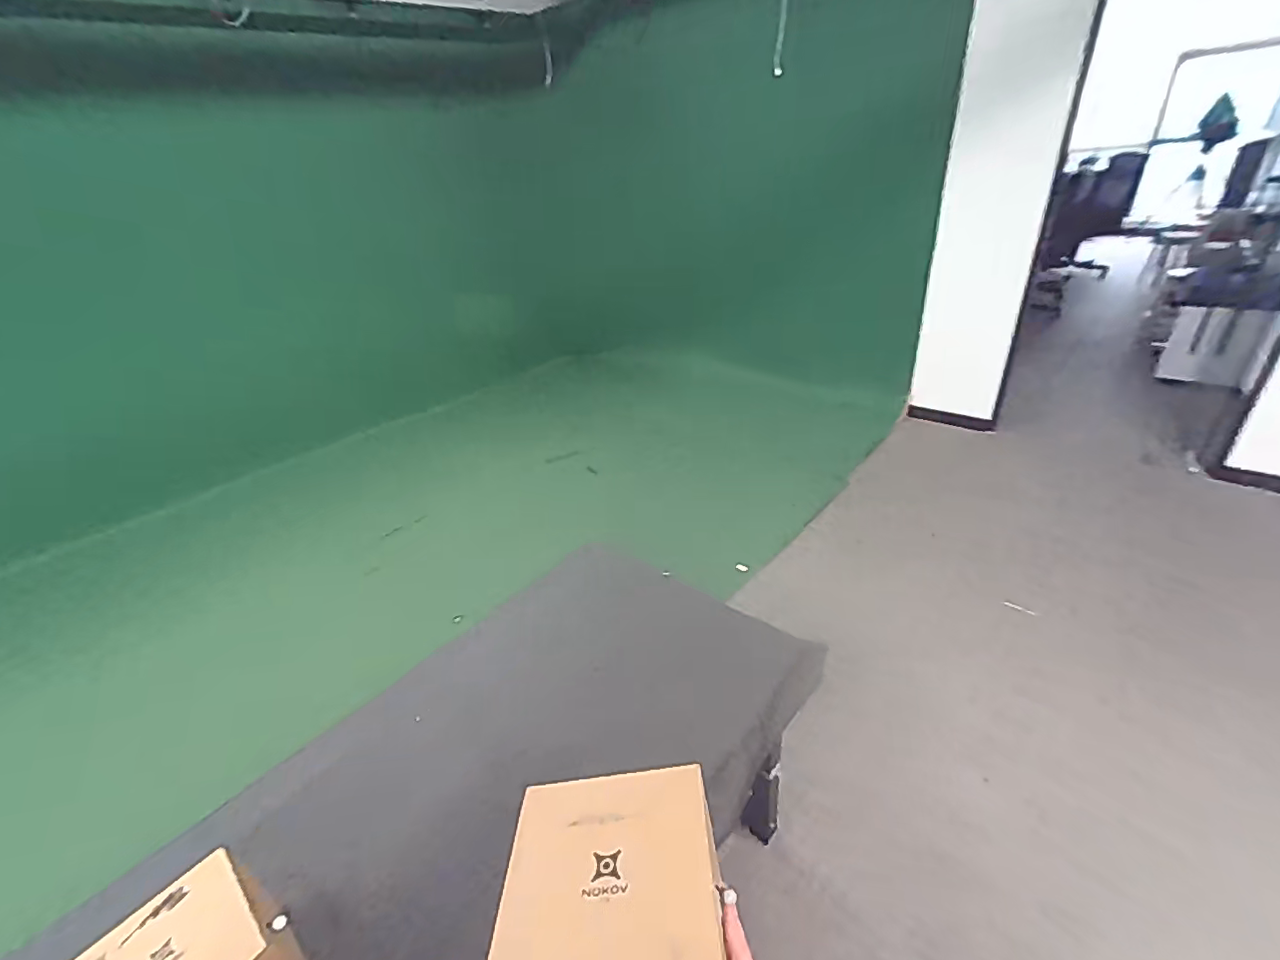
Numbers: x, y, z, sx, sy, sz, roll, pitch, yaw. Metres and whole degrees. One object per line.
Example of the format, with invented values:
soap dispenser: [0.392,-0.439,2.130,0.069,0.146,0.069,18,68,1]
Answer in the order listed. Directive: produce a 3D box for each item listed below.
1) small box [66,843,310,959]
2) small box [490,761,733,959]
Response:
small box: [-0.519,0.594,0.641,0.179,0.176,0.168,20,39,35]
small box: [-0.010,0.376,0.450,0.168,0.176,0.179,-9,19,3]
